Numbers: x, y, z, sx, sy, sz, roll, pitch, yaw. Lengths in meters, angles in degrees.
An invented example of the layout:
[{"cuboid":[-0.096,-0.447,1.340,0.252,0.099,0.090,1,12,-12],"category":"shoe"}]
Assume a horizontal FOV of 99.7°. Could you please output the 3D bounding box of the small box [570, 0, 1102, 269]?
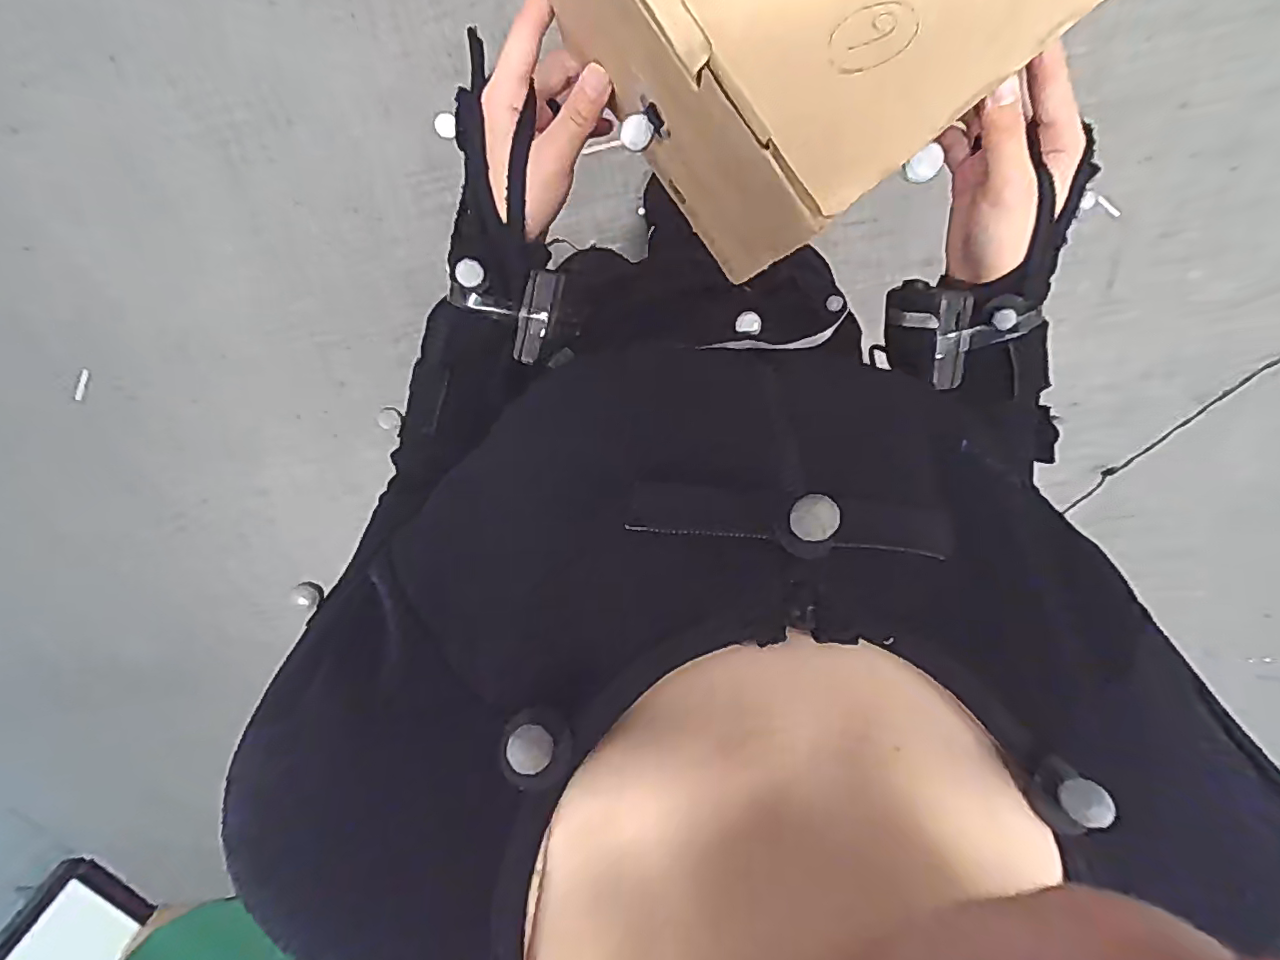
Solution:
[{"cuboid":[0.075,-0.211,0.218,0.179,0.176,0.168,-37,100,11],"category":"small box"}]
